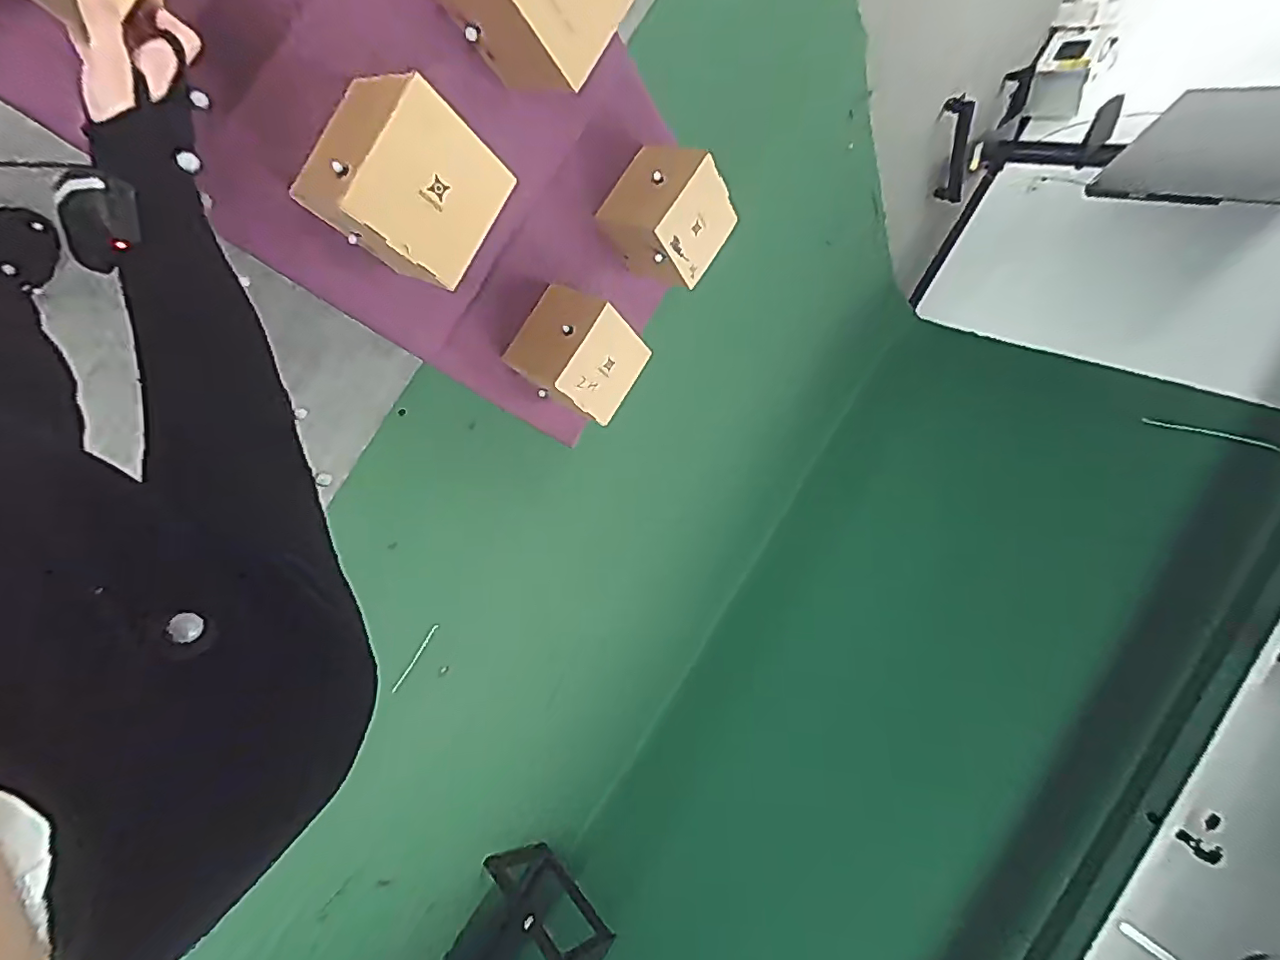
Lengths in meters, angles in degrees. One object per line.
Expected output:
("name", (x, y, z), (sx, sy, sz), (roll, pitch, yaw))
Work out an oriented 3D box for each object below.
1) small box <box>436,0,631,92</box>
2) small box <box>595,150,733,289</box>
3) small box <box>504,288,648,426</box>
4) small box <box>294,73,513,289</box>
("small box", (-0.142, -0.655, 0.711), (0.179, 0.176, 0.168), (-58, 144, 0))
("small box", (0.045, -0.506, 1.045), (0.179, 0.176, 0.168), (-57, 144, -4))
("small box", (-0.123, -0.237, 1.026), (0.179, 0.176, 0.168), (-57, 143, -3))
("small box", (-0.308, -0.385, 0.702), (0.179, 0.176, 0.168), (-60, 145, 0))
